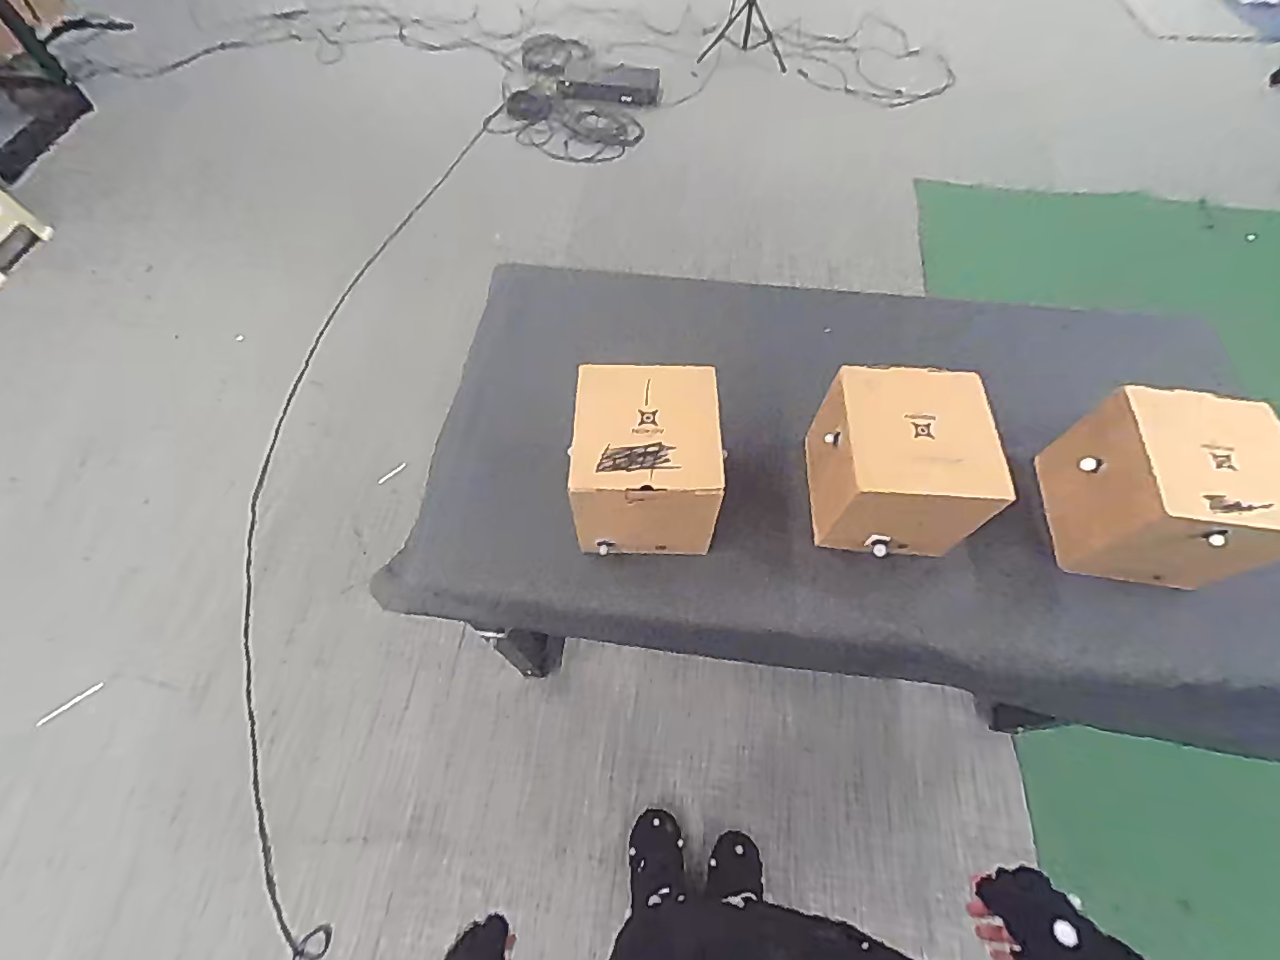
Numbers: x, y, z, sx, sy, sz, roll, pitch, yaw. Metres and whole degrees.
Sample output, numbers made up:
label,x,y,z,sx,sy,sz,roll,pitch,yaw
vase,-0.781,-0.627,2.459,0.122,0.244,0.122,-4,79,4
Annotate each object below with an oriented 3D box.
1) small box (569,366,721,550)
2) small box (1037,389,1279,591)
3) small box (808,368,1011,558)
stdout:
label,x,y,z,sx,sy,sz,roll,pitch,yaw
small box,0.008,-0.022,0.680,0.168,0.176,0.179,1,59,0
small box,0.632,0.016,0.665,0.168,0.176,0.179,8,60,5
small box,0.319,-0.017,0.685,0.168,0.176,0.179,3,61,3
